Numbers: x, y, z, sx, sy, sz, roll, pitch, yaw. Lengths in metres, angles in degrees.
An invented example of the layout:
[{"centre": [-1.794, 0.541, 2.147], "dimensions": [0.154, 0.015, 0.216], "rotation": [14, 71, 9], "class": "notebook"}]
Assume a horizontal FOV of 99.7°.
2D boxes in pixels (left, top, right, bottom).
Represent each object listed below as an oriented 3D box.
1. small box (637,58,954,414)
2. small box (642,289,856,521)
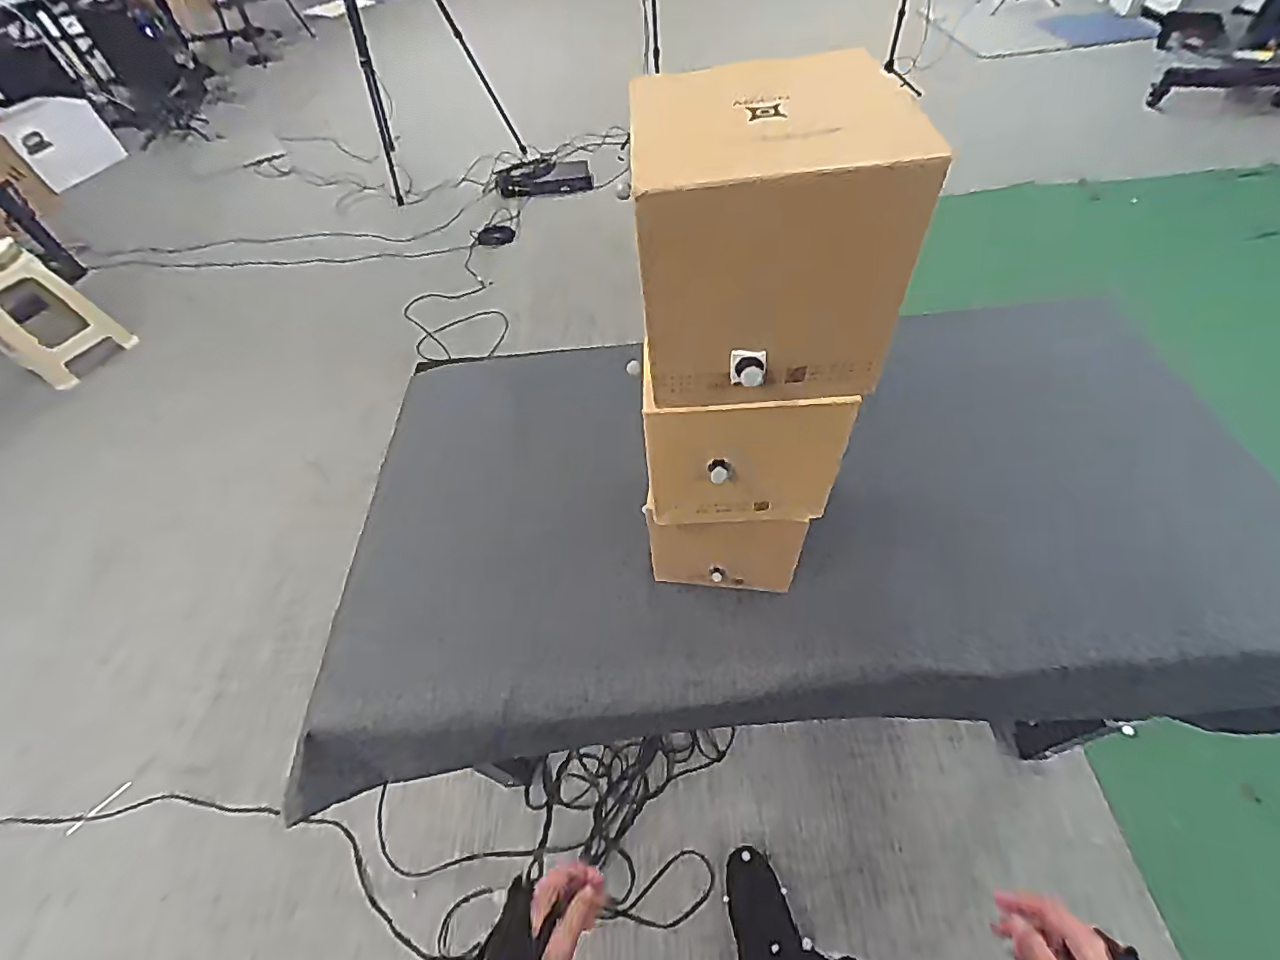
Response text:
[{"centre": [0.086, -0.171, 0.394], "dimensions": [0.168, 0.176, 0.179], "rotation": [-5, 53, 4], "class": "small box"}, {"centre": [0.092, -0.070, 0.522], "dimensions": [0.168, 0.176, 0.179], "rotation": [-3, 53, 4], "class": "small box"}]
